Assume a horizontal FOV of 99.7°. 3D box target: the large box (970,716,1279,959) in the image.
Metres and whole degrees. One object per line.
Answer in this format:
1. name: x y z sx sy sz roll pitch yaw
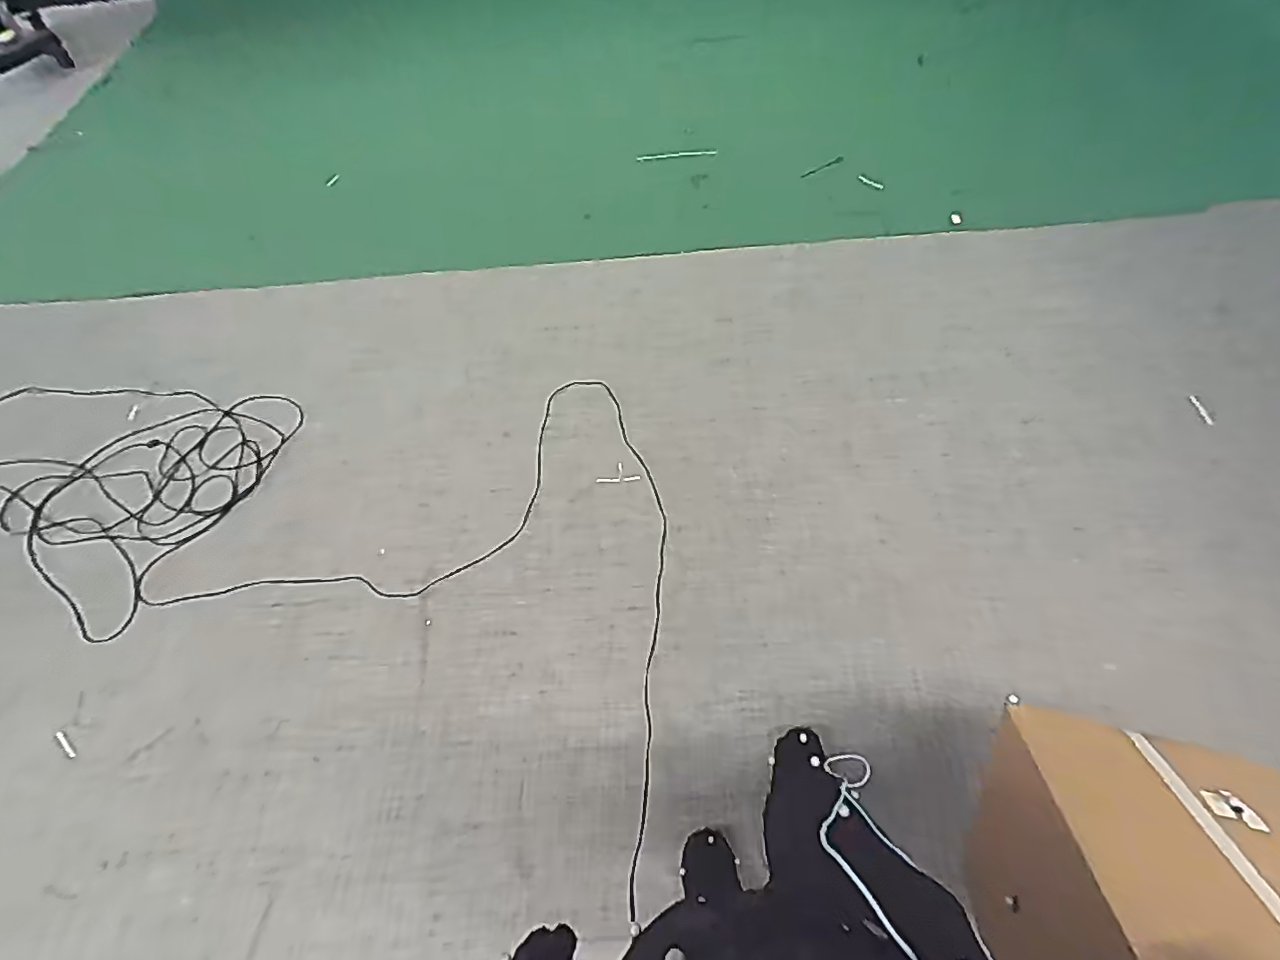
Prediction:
1. large box: 0.628 0.561 0.630 0.320 0.408 0.320 10 102 18
